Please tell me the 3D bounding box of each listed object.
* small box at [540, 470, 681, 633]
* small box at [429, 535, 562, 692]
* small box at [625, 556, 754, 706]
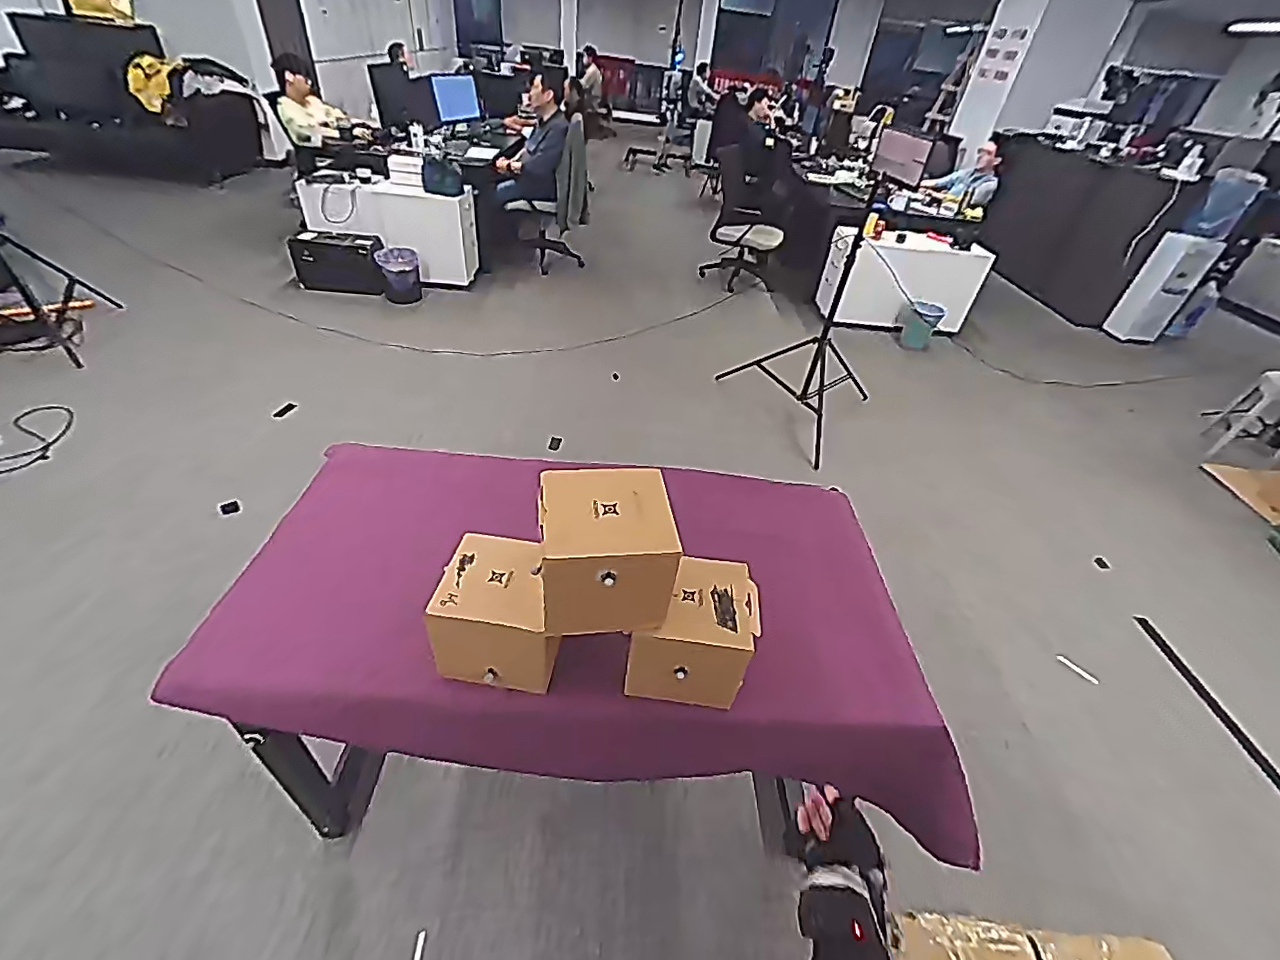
[{"bbox_3d":[-0.051,0.103,0.776,0.179,0.176,0.168,-1,41,-11],"label":"small box"},{"bbox_3d":[-0.214,0.217,0.870,0.179,0.176,0.168,9,38,1],"label":"small box"},{"bbox_3d":[0.076,0.245,0.879,0.179,0.176,0.168,7,38,1],"label":"small box"}]
